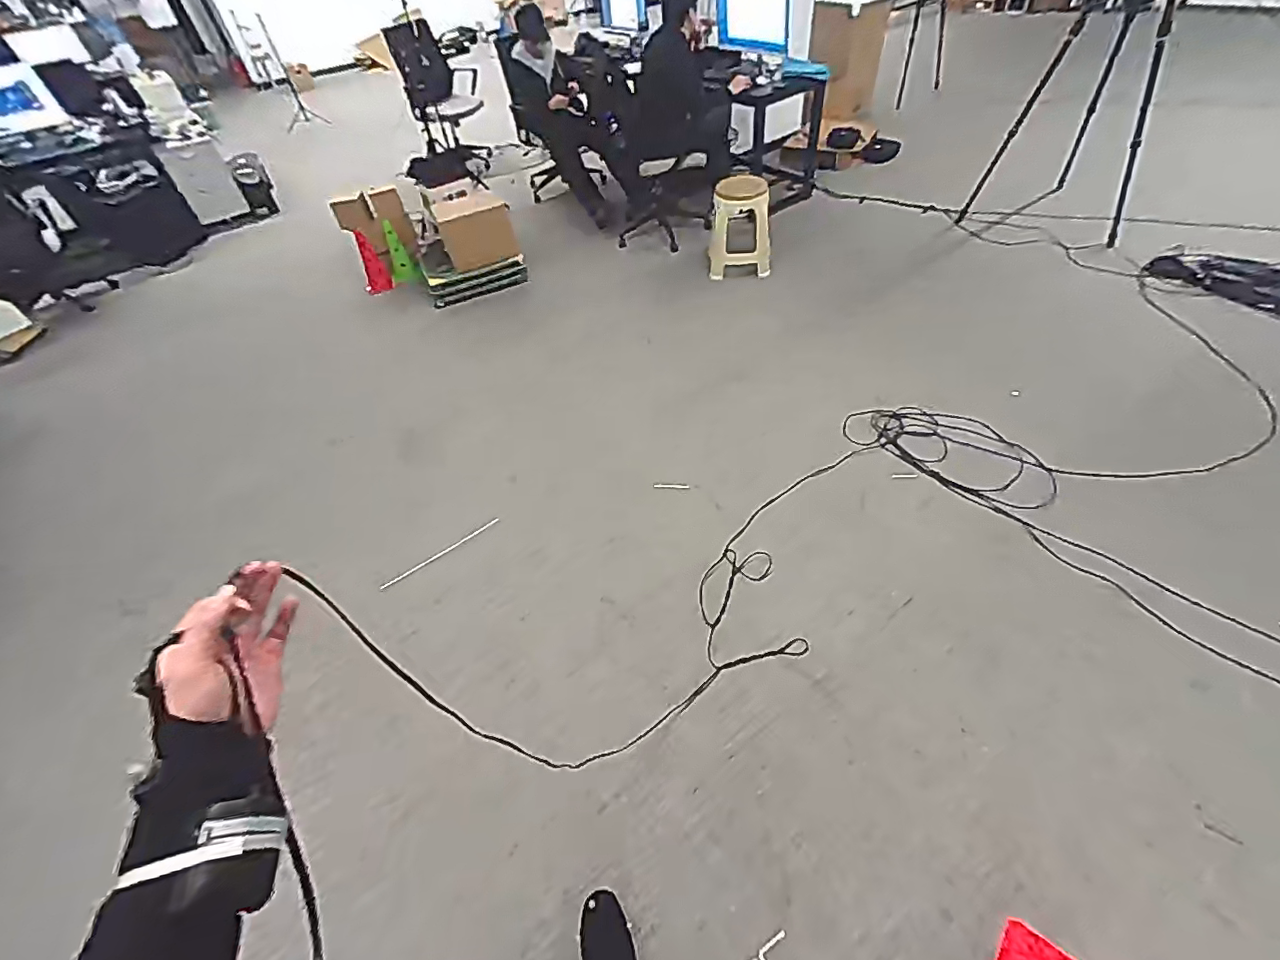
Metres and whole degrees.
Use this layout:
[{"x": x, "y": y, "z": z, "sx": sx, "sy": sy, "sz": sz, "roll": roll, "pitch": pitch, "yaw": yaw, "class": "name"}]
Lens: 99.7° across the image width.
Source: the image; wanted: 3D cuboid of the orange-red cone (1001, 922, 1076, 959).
[{"x": 0.818, "y": 0.934, "z": 0.963, "sx": 0.198, "sy": 0.360, "sz": 0.199, "roll": 29, "pitch": 56, "yaw": 28, "class": "orange-red cone"}]
